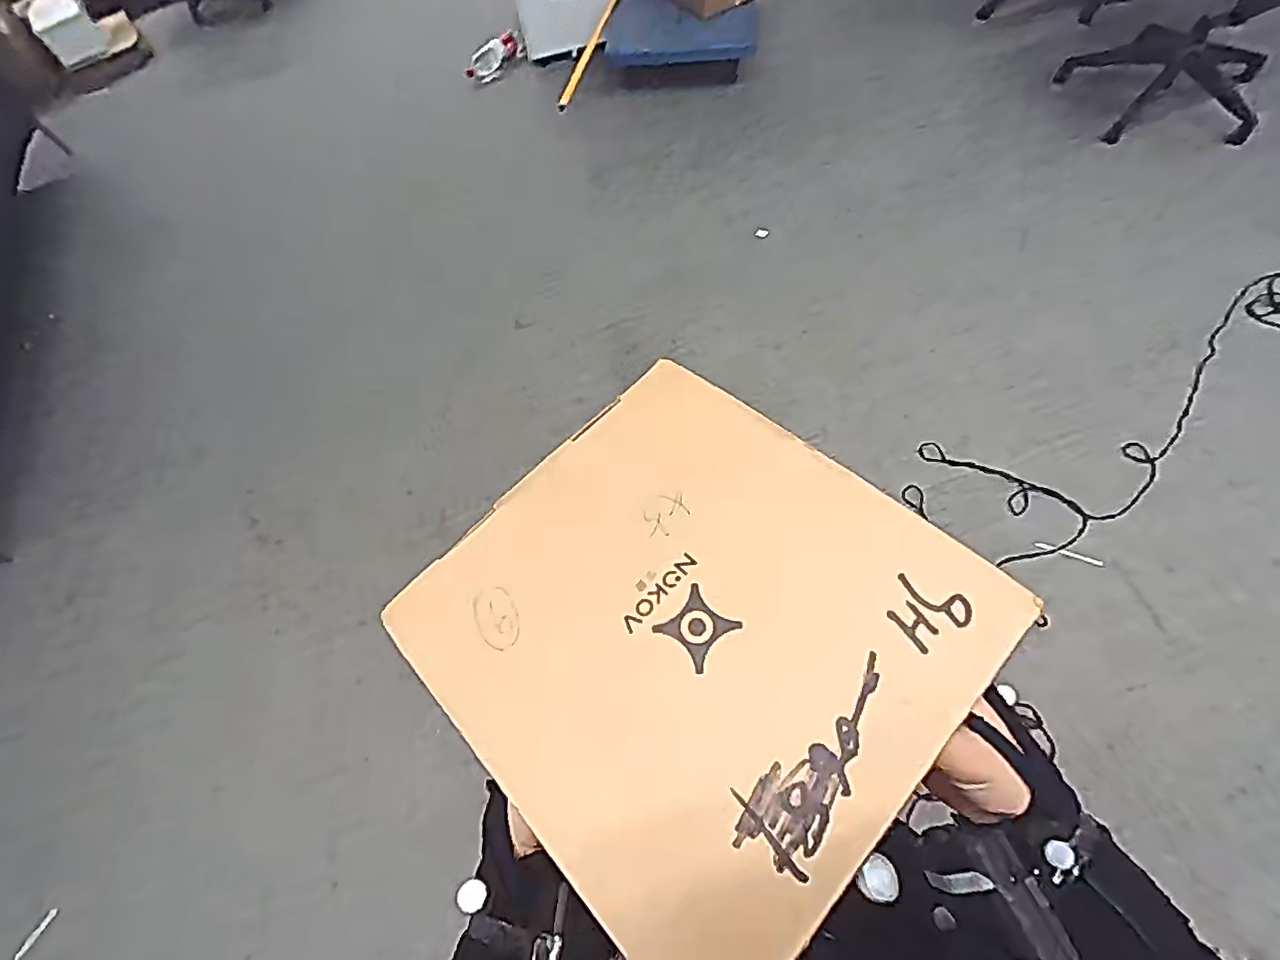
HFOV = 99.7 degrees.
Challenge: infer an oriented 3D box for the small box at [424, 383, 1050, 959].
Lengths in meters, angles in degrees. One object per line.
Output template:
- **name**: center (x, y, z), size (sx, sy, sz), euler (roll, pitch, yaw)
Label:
- **small box**: center (0.038, 0.092, 0.271), size (0.168, 0.176, 0.179), euler (-44, 62, -14)
